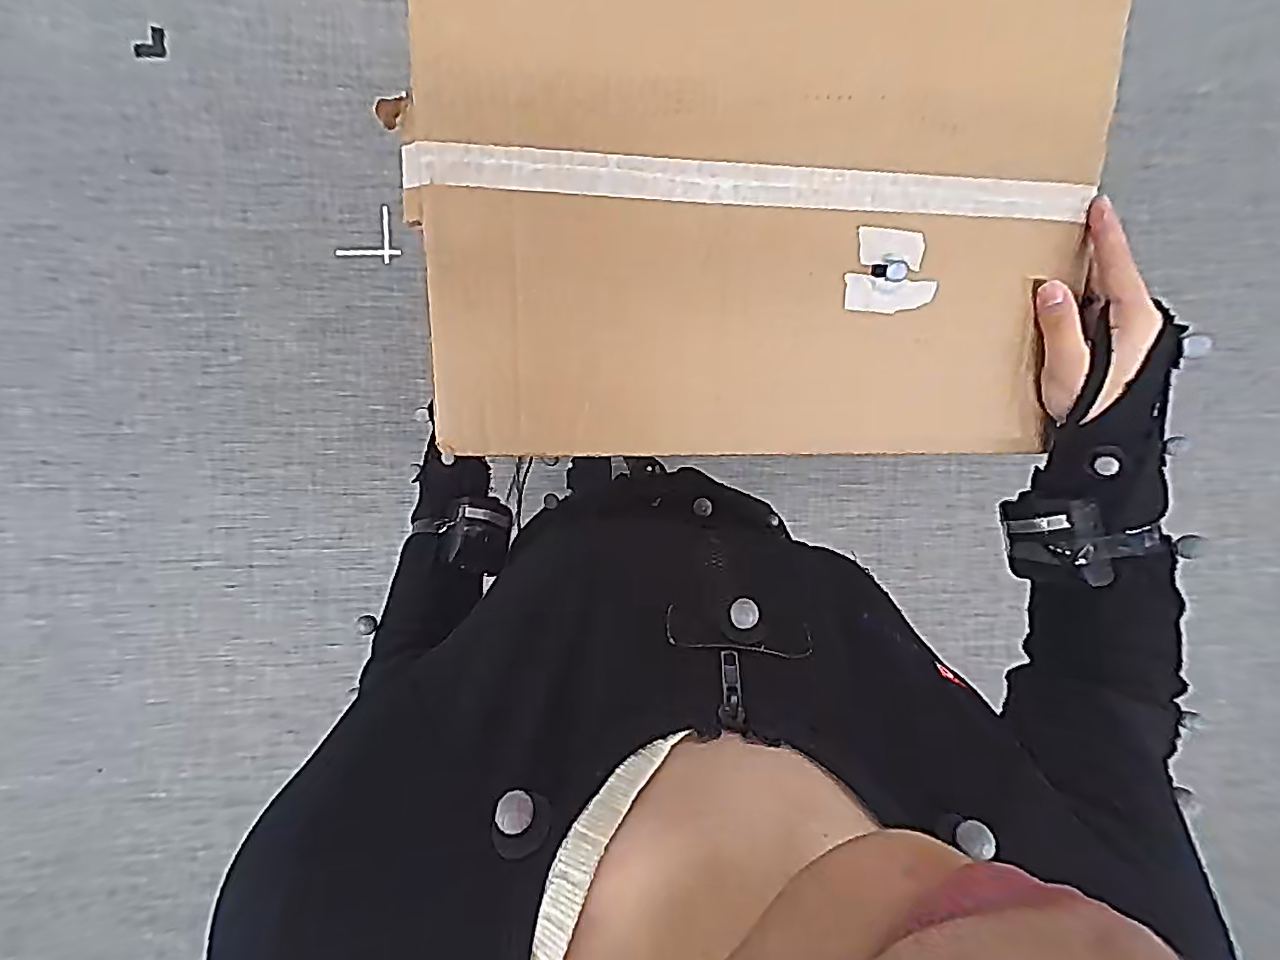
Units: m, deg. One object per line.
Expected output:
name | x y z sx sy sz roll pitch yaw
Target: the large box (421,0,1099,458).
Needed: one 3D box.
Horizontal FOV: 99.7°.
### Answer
large box | 0.059 -0.200 0.468 0.408 0.320 0.320 -1 103 -9
